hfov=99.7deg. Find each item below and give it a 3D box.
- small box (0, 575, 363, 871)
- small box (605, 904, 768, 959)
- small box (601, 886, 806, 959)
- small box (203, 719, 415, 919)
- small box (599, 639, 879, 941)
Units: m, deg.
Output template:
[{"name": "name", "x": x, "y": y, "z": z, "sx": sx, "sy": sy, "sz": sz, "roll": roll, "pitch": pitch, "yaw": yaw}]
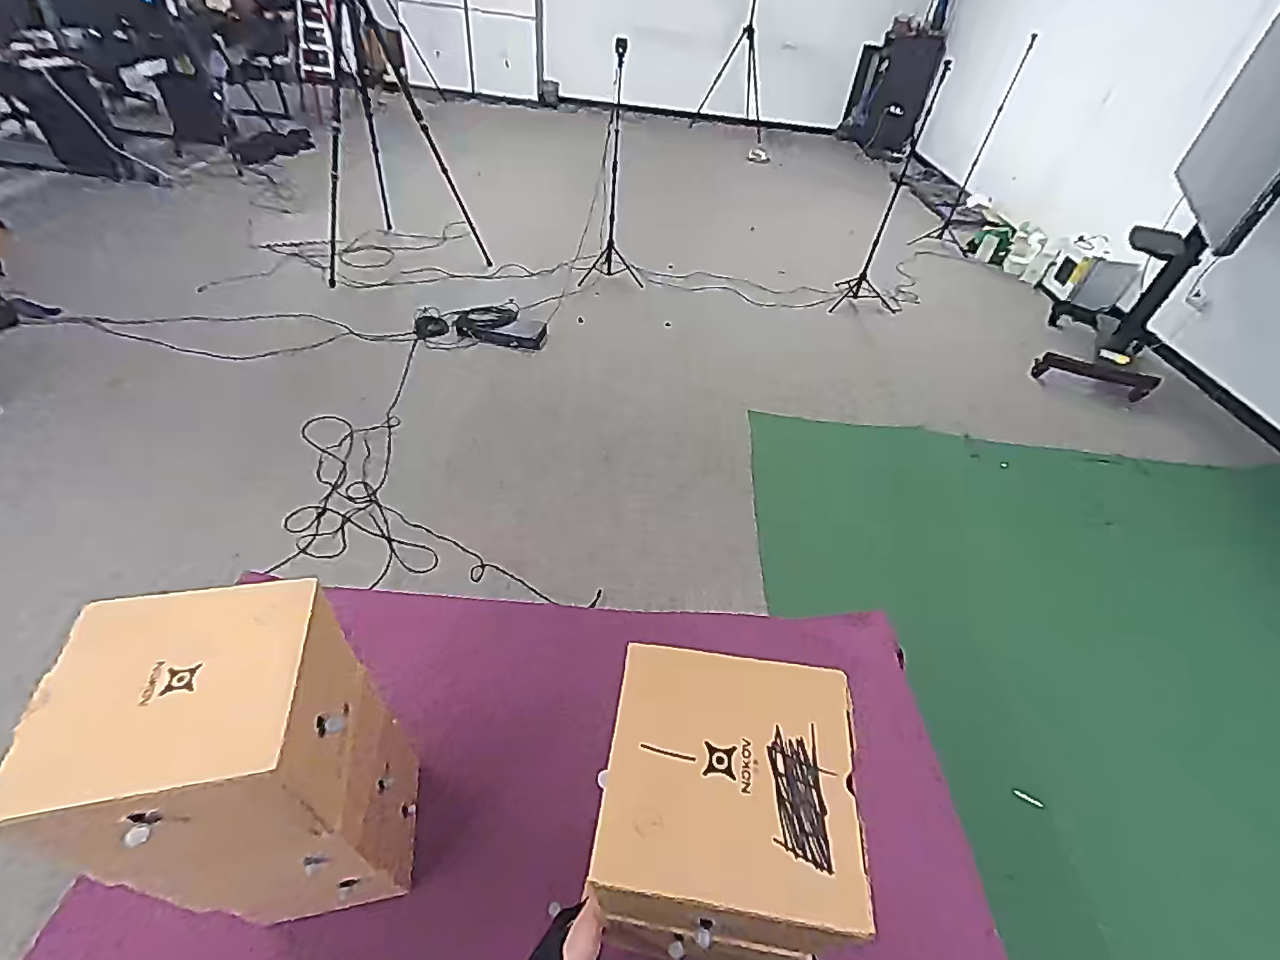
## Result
[{"name": "small box", "x": -0.352, "y": 0.203, "z": 0.459, "sx": 0.179, "sy": 0.176, "sz": 0.168, "roll": -5, "pitch": 46, "yaw": -14}, {"name": "small box", "x": 0.061, "y": 0.488, "z": 0.676, "sx": 0.179, "sy": 0.176, "sz": 0.168, "roll": 9, "pitch": 46, "yaw": 7}, {"name": "small box", "x": 0.065, "y": 0.372, "z": 0.561, "sx": 0.179, "sy": 0.176, "sz": 0.168, "roll": 7, "pitch": 46, "yaw": 6}, {"name": "small box", "x": -0.395, "y": 0.431, "z": 0.690, "sx": 0.179, "sy": 0.176, "sz": 0.168, "roll": -4, "pitch": 45, "yaw": -13}, {"name": "small box", "x": 0.070, "y": 0.256, "z": 0.444, "sx": 0.179, "sy": 0.176, "sz": 0.168, "roll": 6, "pitch": 46, "yaw": 6}]
